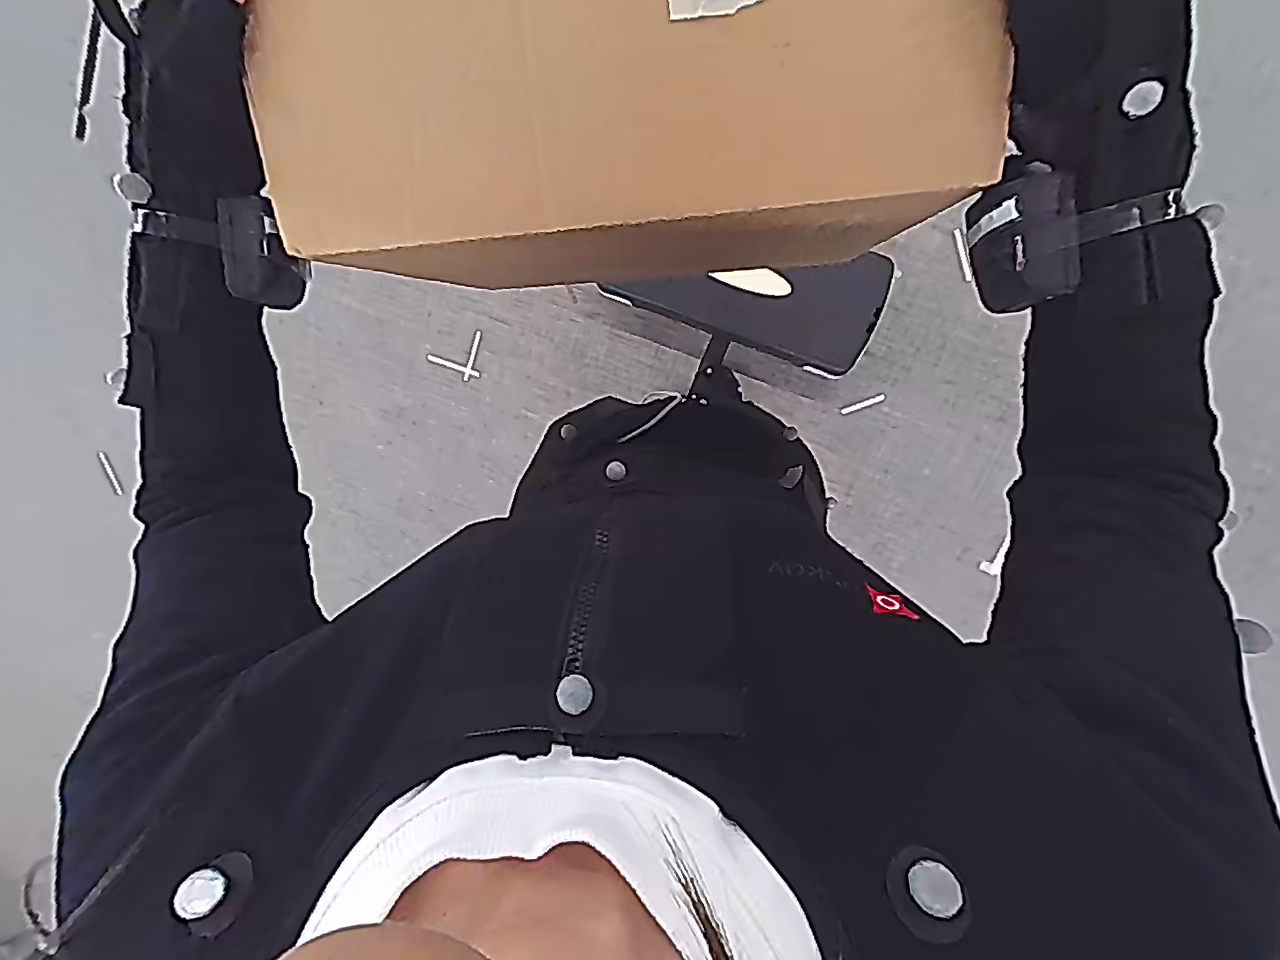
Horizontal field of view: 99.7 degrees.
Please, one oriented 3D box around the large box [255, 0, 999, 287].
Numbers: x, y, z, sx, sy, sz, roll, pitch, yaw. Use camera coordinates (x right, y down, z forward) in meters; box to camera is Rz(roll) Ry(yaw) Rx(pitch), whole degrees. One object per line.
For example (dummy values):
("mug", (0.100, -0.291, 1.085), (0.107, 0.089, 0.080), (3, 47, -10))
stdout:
("large box", (-0.008, -0.343, 0.419), (0.408, 0.320, 0.320), (-3, 106, 7))
